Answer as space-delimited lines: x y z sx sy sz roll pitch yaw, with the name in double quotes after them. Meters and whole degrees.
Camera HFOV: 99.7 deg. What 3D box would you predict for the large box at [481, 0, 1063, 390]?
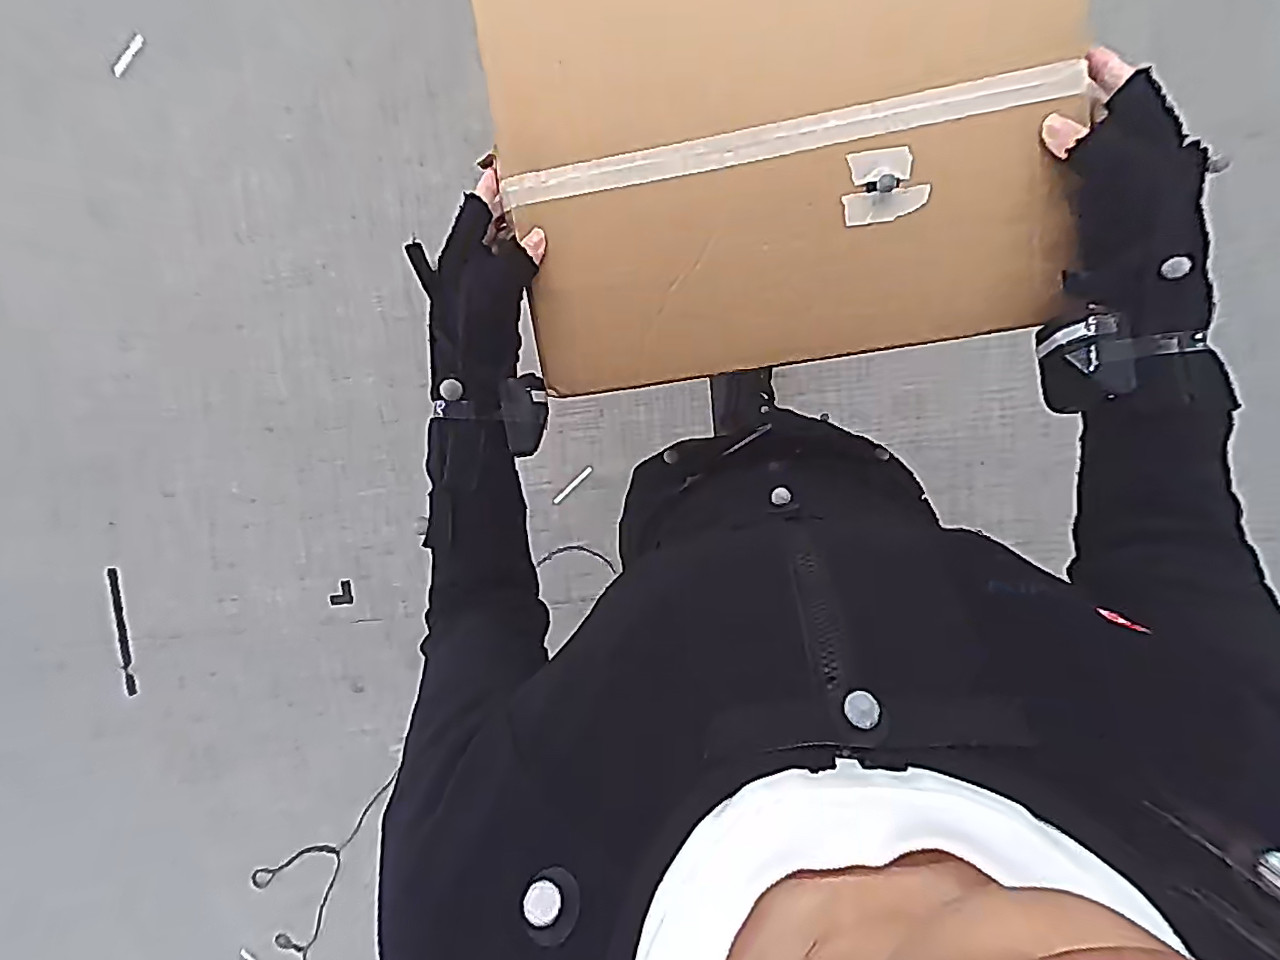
0.110 -0.281 0.546 0.408 0.320 0.320 -8 102 6 "large box"
